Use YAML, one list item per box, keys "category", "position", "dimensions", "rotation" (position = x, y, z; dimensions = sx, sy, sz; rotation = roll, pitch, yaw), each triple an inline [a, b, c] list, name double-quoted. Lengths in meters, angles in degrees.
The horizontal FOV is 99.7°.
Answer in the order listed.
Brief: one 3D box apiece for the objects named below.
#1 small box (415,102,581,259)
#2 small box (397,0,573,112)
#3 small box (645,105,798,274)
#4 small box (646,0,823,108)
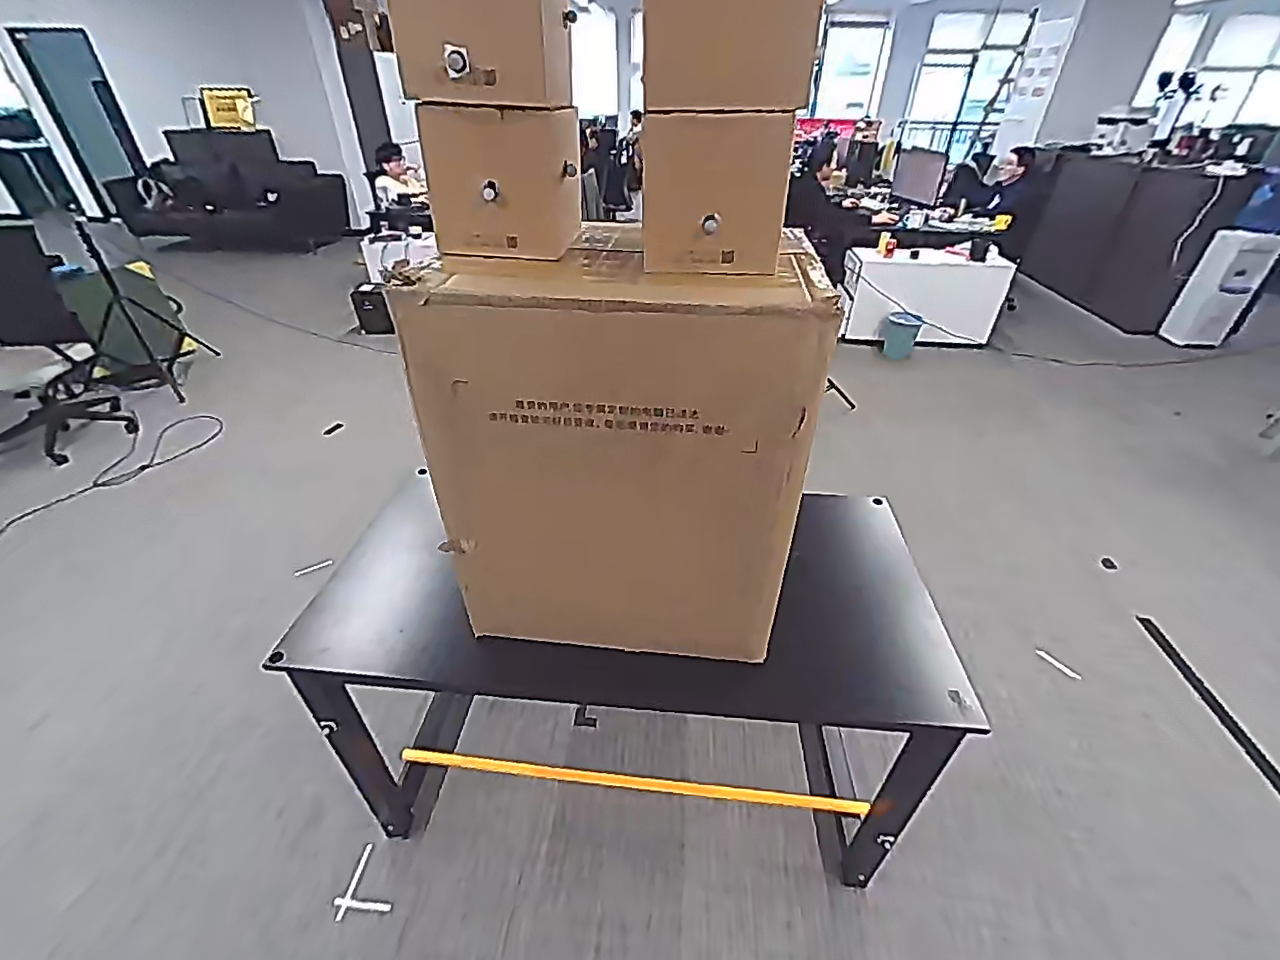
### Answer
- category: "small box"
  position: [-0.174, -0.408, 0.731]
  dimensions: [0.168, 0.176, 0.179]
  rotation: [4, 36, 2]
- category: "small box"
  position: [-0.172, -0.533, 0.625]
  dimensions: [0.168, 0.176, 0.179]
  rotation: [3, 36, 2]
- category: "small box"
  position: [0.095, -0.372, 0.685]
  dimensions: [0.168, 0.176, 0.179]
  rotation: [2, 36, 5]
- category: "small box"
  position: [0.098, -0.502, 0.584]
  dimensions: [0.179, 0.176, 0.168]
  rotation: [3, 36, 4]
